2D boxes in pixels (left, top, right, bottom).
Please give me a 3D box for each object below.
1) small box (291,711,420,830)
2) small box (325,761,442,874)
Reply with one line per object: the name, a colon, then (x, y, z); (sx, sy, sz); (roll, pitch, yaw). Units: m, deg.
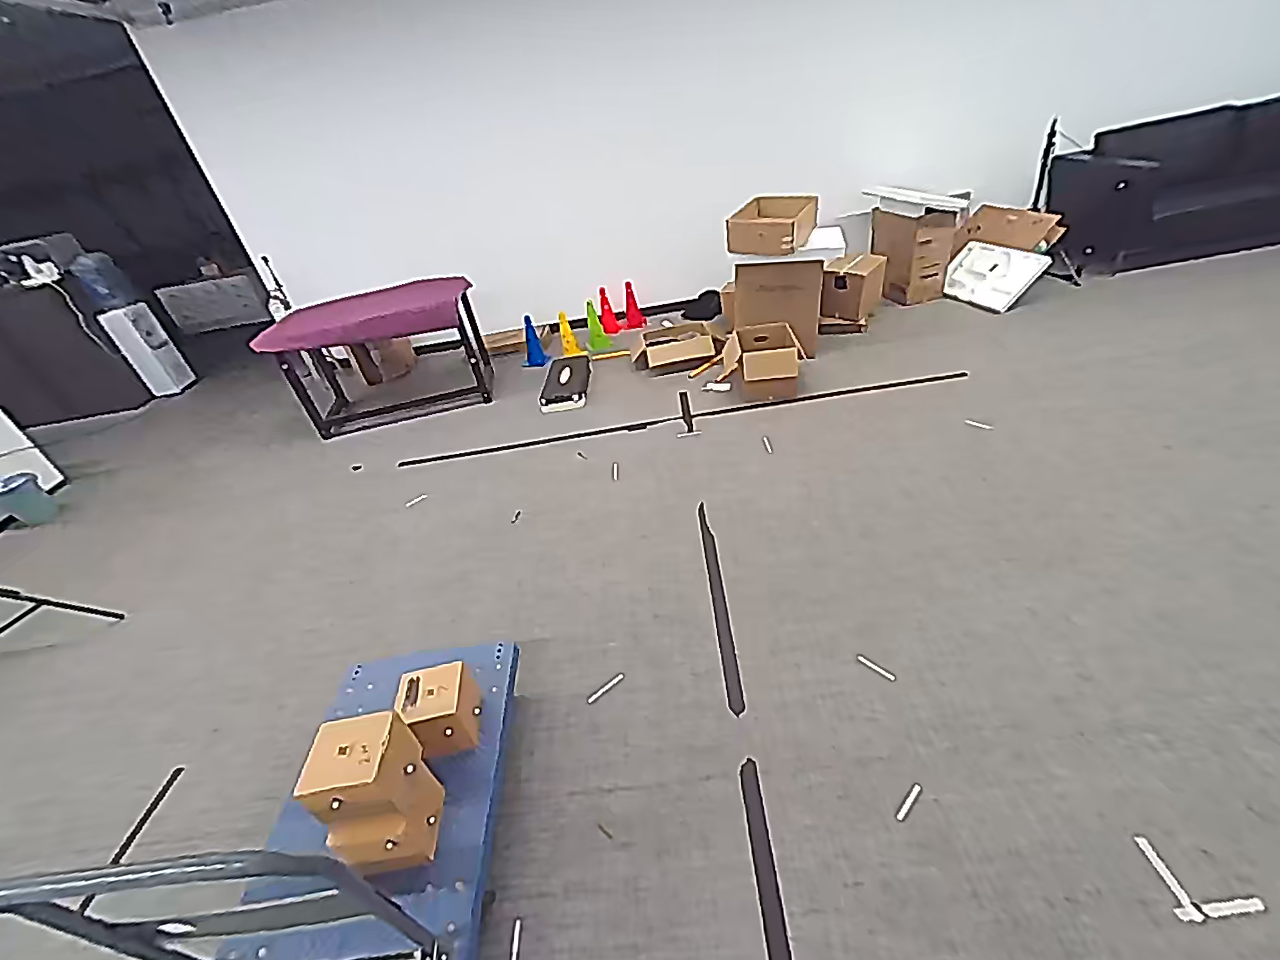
small box: (-0.622, 0.650, 1.208); (0.179, 0.176, 0.168); (-10, 34, 0)
small box: (-0.595, 0.799, 1.279); (0.179, 0.176, 0.168); (-11, 34, -1)
